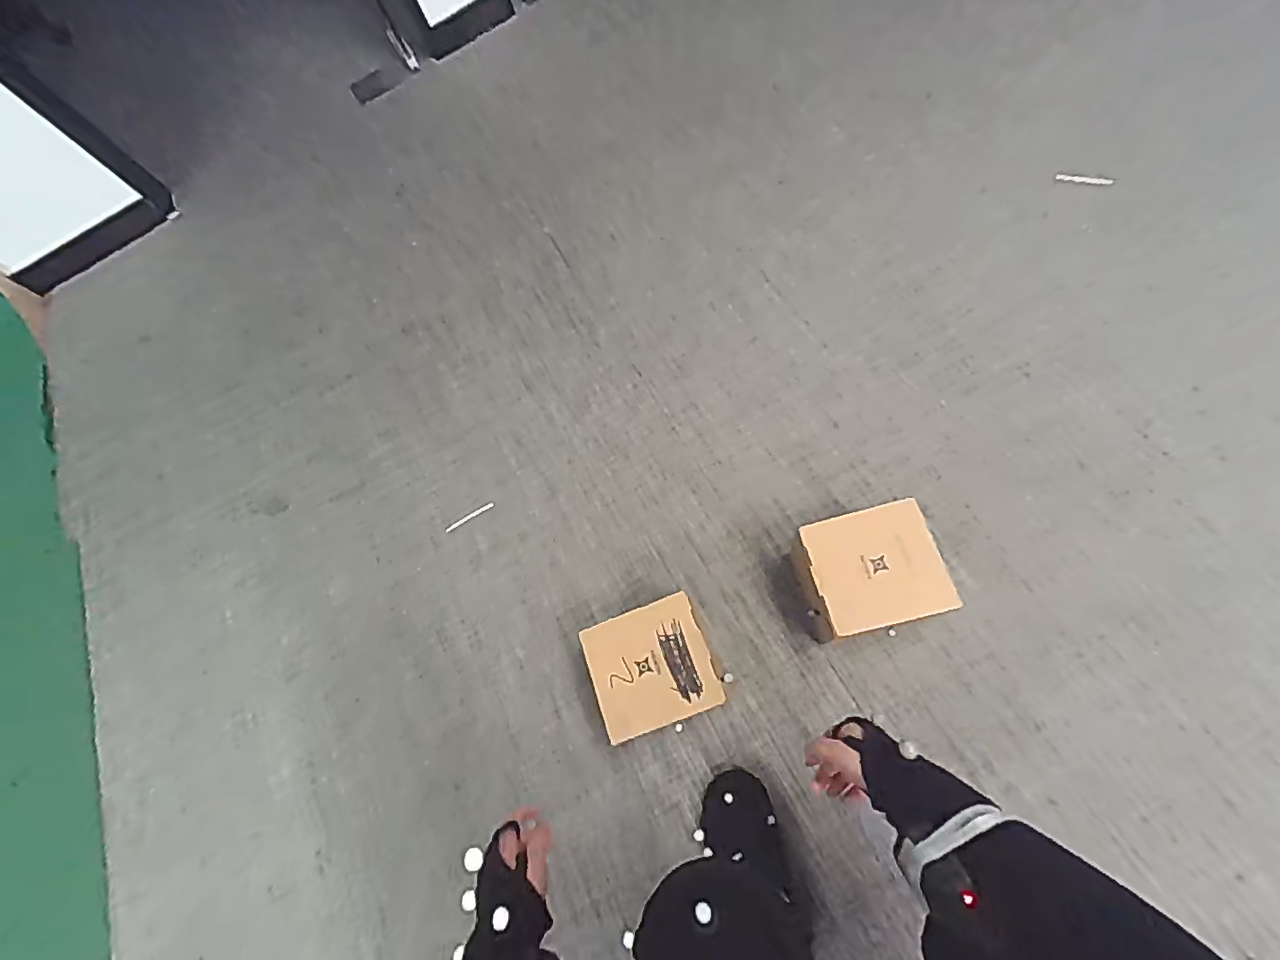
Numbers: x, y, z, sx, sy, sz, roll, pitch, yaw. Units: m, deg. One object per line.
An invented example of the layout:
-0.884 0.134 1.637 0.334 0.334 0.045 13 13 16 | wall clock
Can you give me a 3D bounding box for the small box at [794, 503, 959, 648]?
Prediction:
0.345 0.156 0.835 0.179 0.176 0.168 -15 67 5 | small box
